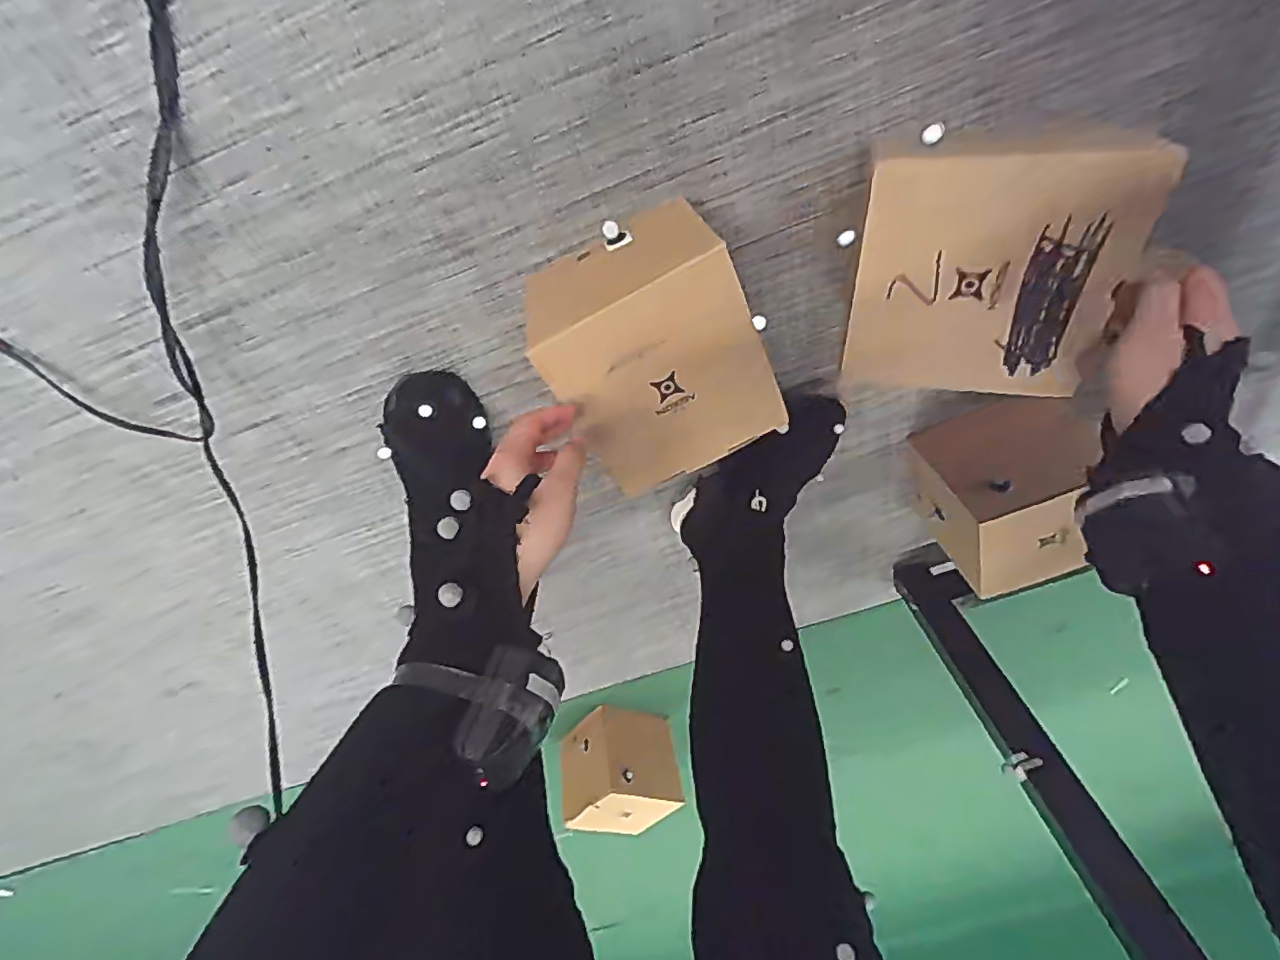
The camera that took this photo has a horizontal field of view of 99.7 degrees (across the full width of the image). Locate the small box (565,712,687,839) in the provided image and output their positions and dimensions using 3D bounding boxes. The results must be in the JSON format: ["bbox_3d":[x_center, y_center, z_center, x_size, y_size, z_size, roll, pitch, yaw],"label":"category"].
[{"bbox_3d":[-0.035,0.587,1.076,0.179,0.176,0.168,25,121,-26],"label":"small box"}]

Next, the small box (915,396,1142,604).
[{"bbox_3d":[0.478,0.024,0.698,0.179,0.176,0.168,-24,129,10],"label":"small box"}]
